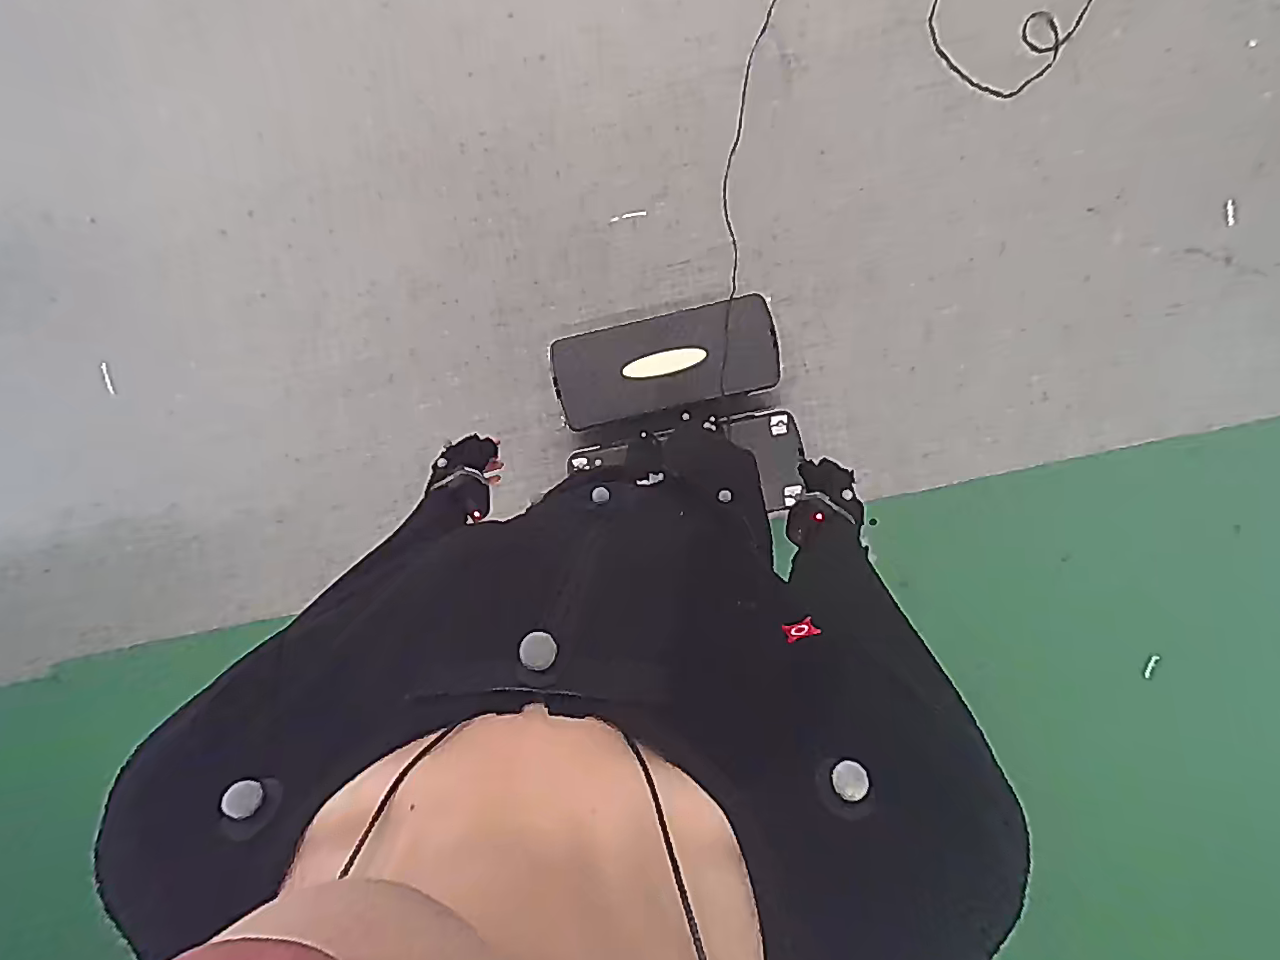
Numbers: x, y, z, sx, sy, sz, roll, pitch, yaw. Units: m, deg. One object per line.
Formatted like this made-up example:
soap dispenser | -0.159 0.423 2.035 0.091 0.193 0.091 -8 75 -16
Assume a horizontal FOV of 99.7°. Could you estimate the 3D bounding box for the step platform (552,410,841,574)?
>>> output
step platform | 0.134 0.028 1.381 0.684 0.204 0.286 -12 94 2
